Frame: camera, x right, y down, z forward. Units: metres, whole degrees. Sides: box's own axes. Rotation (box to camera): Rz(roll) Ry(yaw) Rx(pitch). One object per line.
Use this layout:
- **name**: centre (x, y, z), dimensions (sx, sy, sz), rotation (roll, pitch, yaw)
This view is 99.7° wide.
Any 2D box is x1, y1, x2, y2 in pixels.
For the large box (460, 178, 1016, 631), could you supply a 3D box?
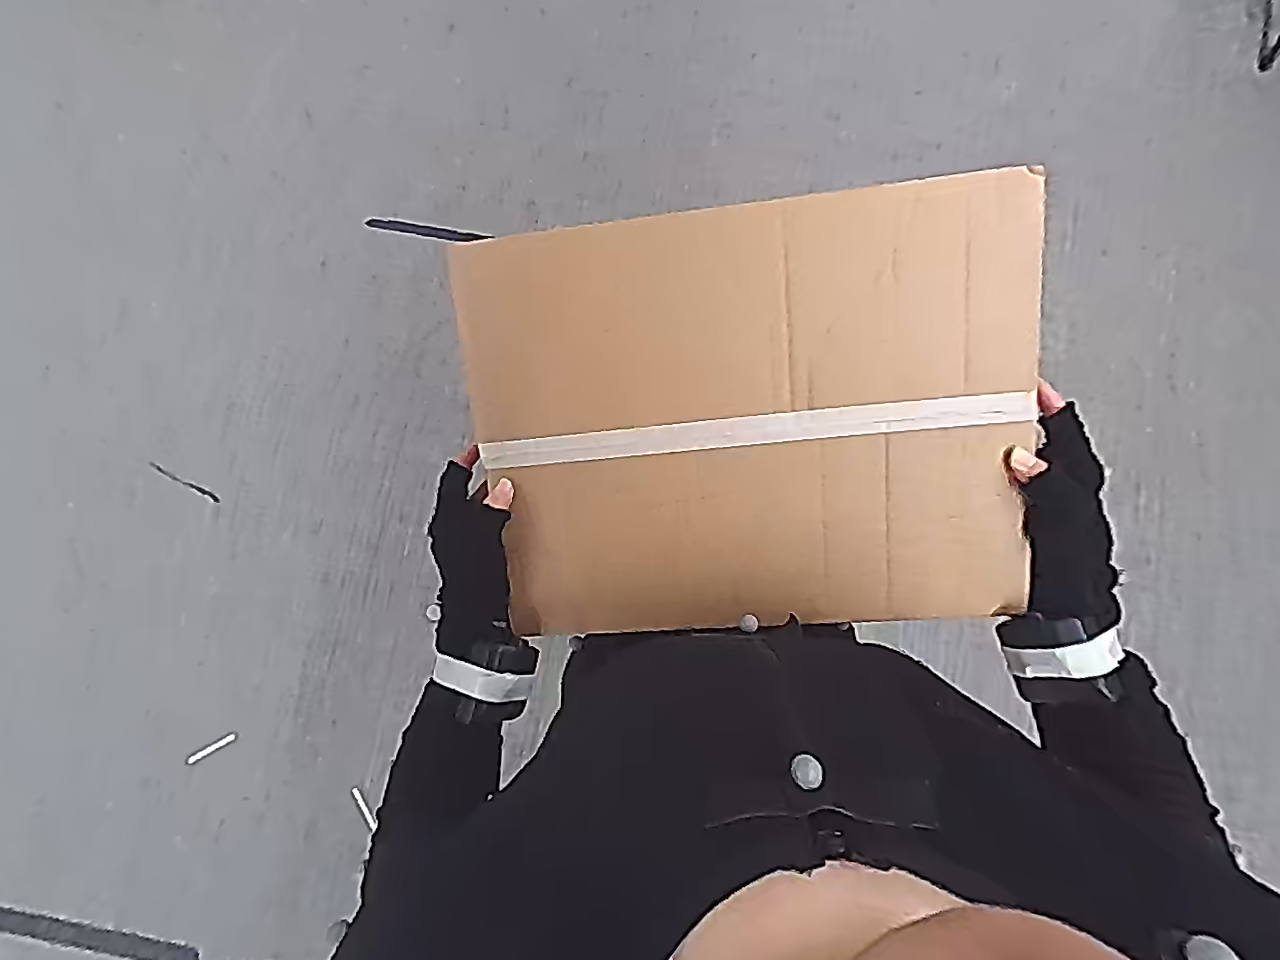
- **large box**: centre (0.088, -0.068, 0.562), dimensions (0.408, 0.320, 0.320), rotation (-5, 103, 7)
